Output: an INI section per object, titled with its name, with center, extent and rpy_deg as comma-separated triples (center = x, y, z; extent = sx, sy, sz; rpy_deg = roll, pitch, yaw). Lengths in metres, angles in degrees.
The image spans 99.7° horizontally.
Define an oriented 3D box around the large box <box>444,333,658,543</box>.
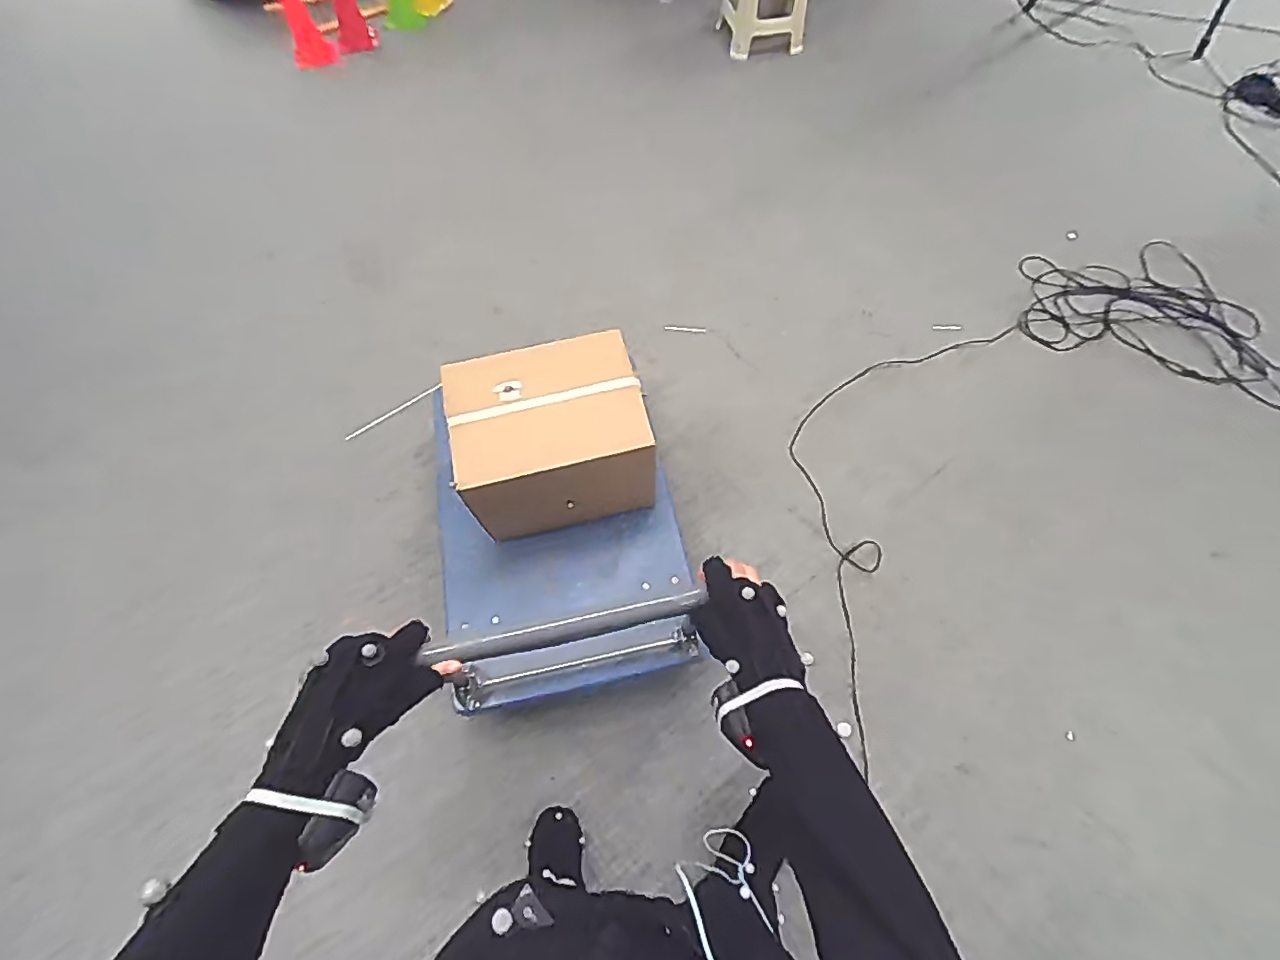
[large box]
center = -0.192, -0.086, 1.270
extent = 0.408, 0.320, 0.320
rpy_deg = -15, 65, -5
